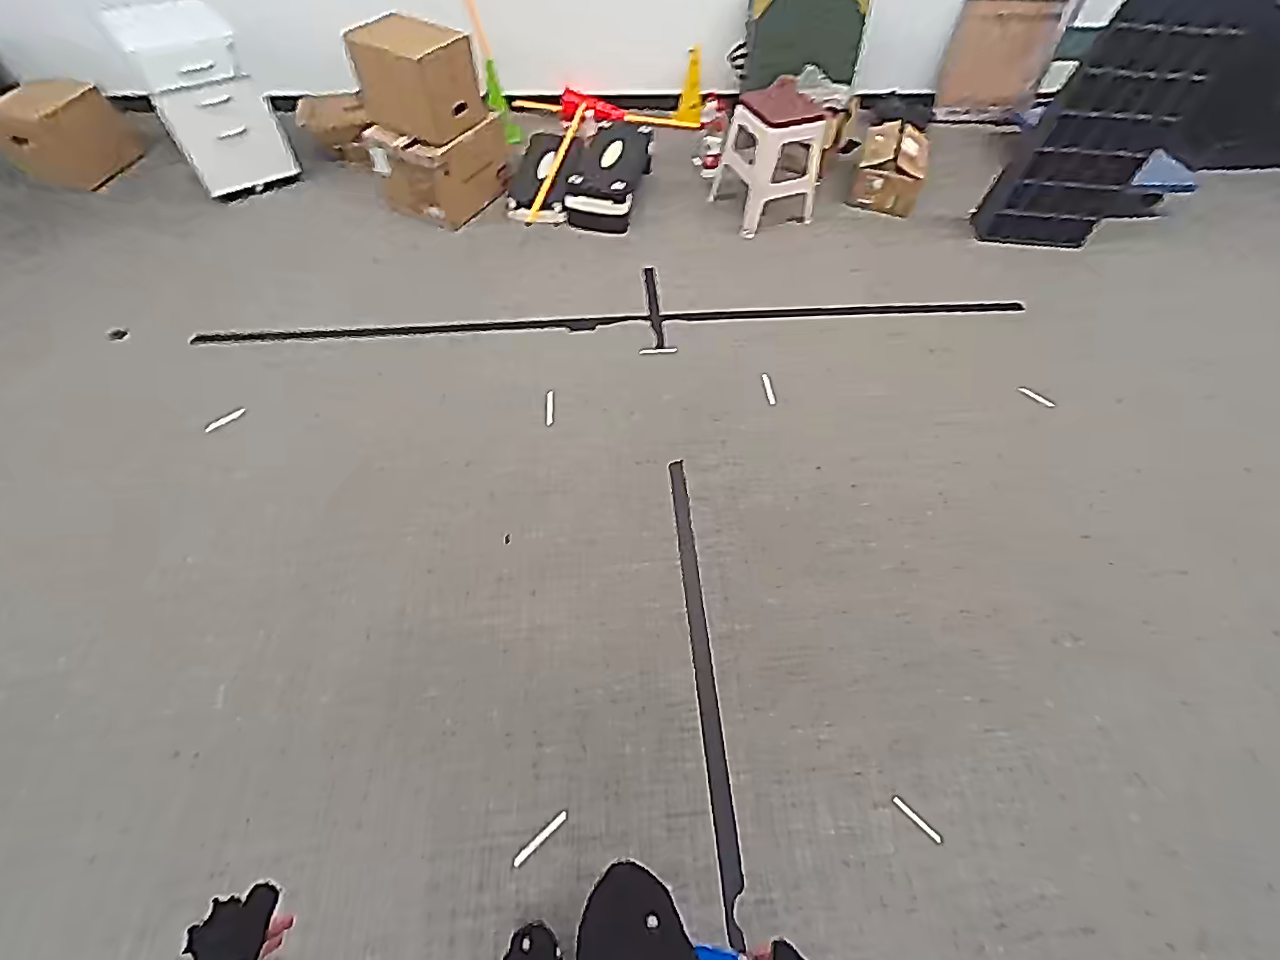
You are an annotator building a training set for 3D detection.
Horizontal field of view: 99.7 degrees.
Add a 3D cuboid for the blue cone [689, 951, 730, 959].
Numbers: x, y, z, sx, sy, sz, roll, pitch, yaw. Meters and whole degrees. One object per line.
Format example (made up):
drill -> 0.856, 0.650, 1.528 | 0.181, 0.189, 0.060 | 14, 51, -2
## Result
blue cone -> 0.177, 0.946, 0.903 | 0.192, 0.380, 0.193 | 11, 56, 4
